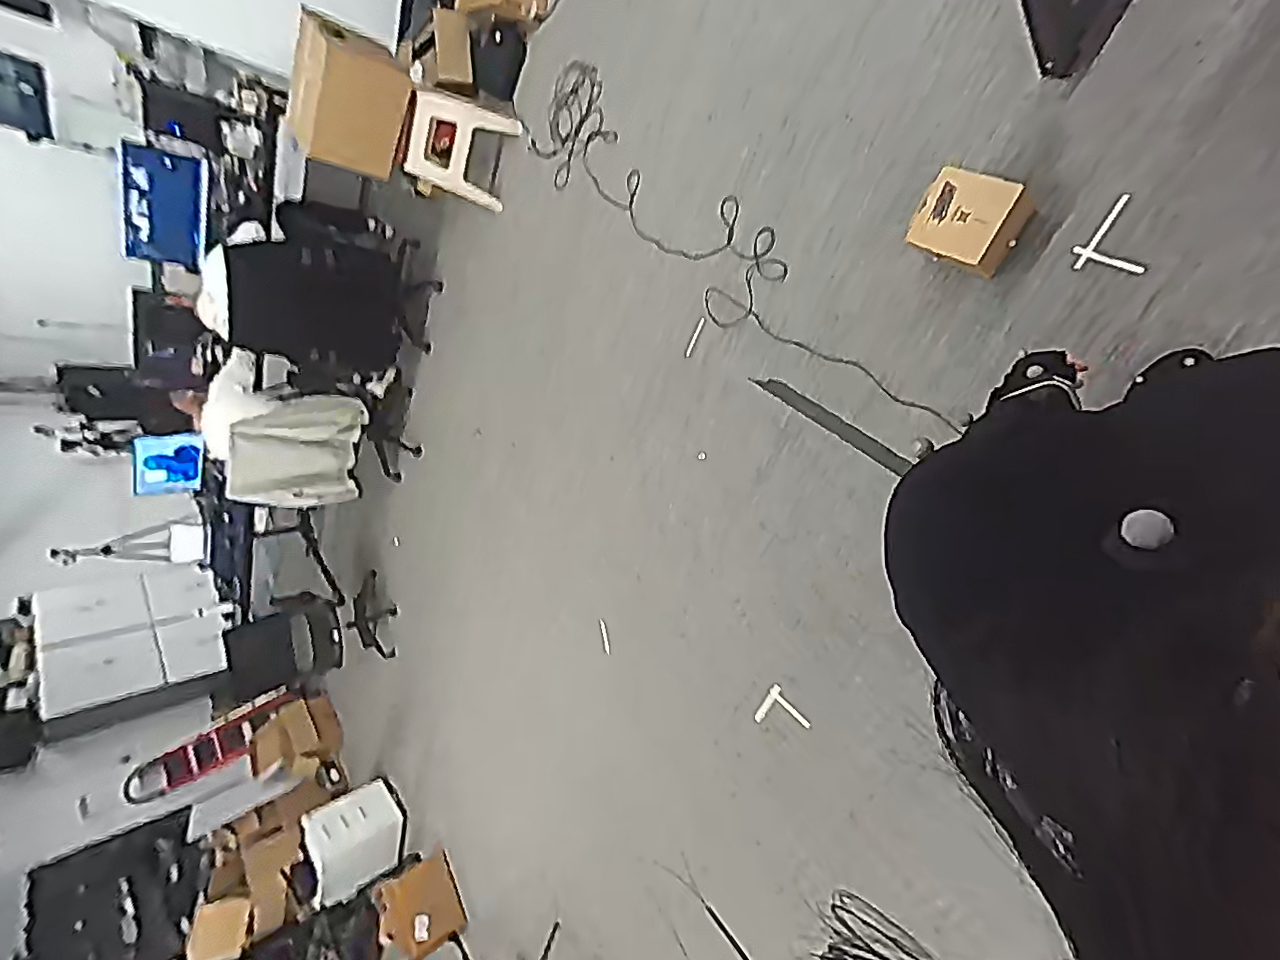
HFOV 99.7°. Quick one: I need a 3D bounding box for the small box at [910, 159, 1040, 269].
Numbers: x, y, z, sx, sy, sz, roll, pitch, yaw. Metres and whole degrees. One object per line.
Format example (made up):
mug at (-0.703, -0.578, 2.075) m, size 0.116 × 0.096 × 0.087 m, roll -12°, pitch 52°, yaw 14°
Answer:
small box at (0.755, -0.592, 1.218) m, size 0.179 × 0.176 × 0.168 m, roll 39°, pitch 121°, yaw 31°
